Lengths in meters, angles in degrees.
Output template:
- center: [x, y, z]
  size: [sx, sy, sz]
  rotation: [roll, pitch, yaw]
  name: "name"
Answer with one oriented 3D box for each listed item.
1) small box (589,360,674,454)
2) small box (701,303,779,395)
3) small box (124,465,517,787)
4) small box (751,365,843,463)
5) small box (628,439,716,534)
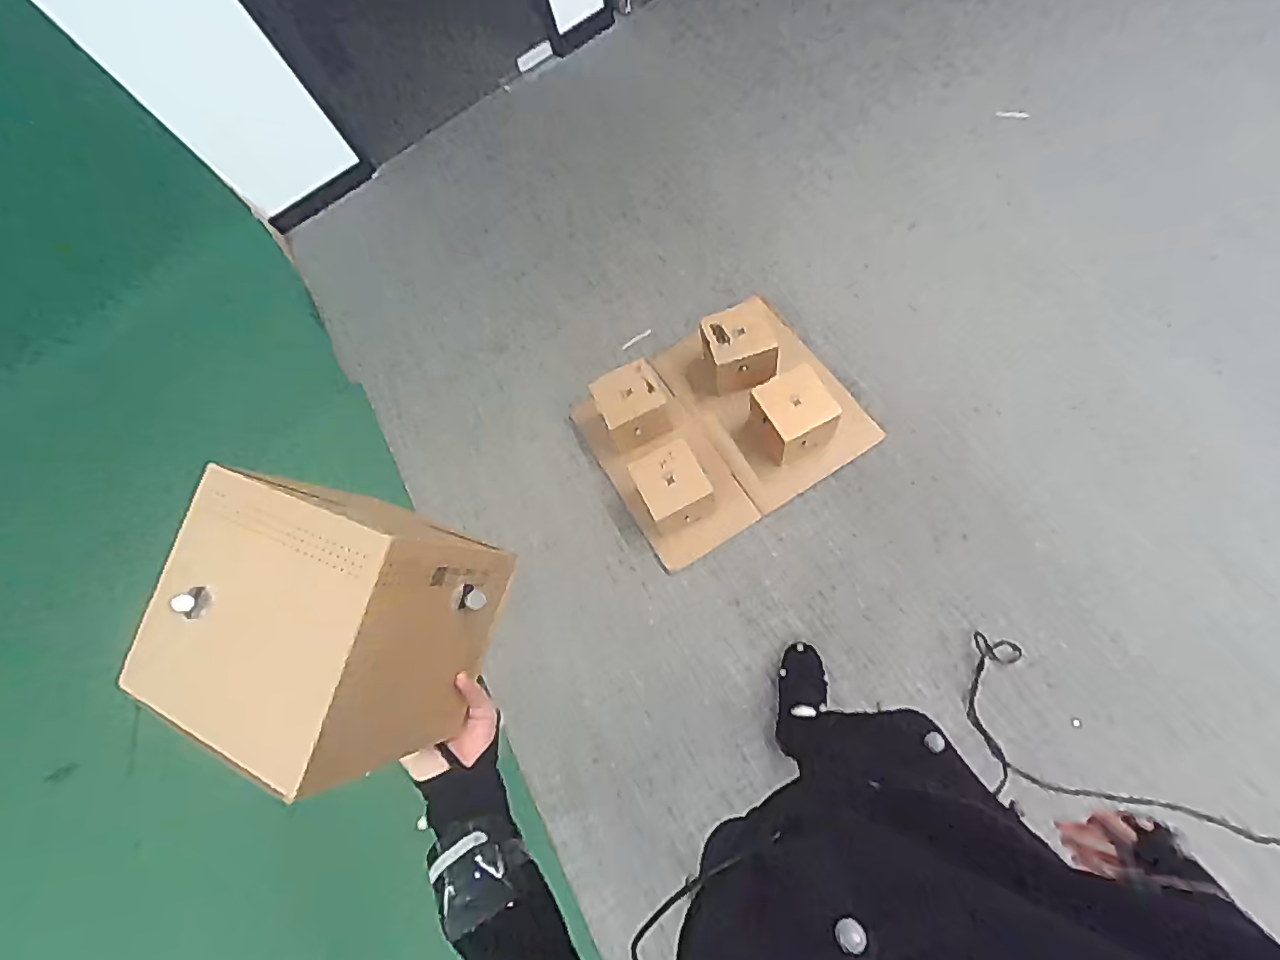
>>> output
- center: [-0.019, -0.201, 1.540]
  size: [0.179, 0.176, 0.168]
  rotation: [-26, 66, 1]
  name: "small box"
- center: [0.282, -0.364, 1.534]
  size: [0.179, 0.176, 0.168]
  rotation: [-16, 67, 4]
  name: "small box"
- center: [-0.229, 0.096, 0.426]
  size: [0.179, 0.168, 0.176]
  rotation: [16, 83, 18]
  name: "small box"
- center: [0.409, -0.164, 1.433]
  size: [0.168, 0.176, 0.179]
  rotation: [-28, 66, 0]
  name: "small box"
- center: [0.092, 0.028, 1.428]
  size: [0.168, 0.176, 0.179]
  rotation: [-27, 66, 0]
  name: "small box"
